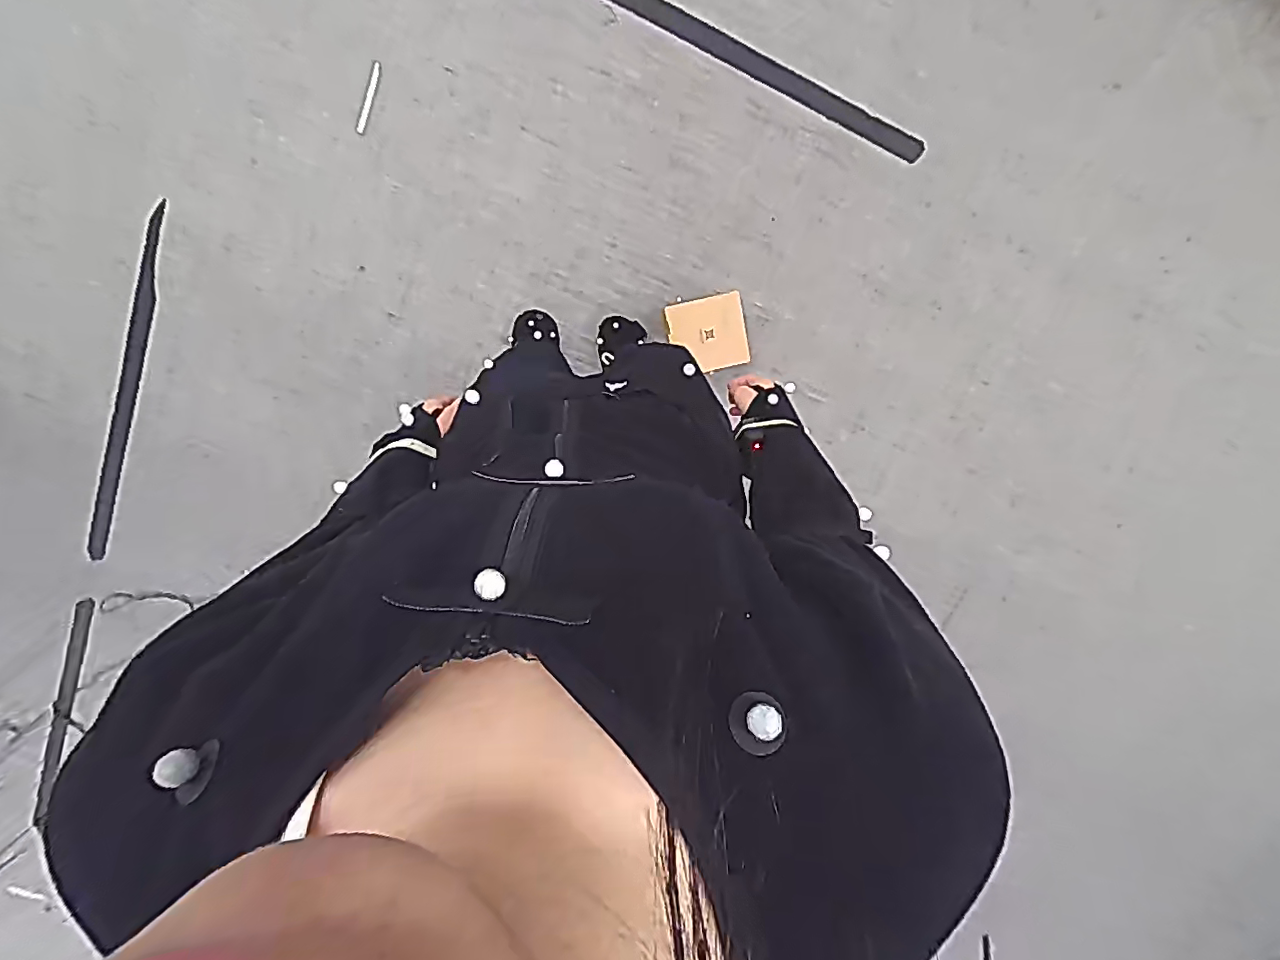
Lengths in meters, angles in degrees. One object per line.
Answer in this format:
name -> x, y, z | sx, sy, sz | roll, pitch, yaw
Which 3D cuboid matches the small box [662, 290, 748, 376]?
small box -> 0.152, -0.357, 1.320 | 0.179, 0.176, 0.168 | -13, 107, 2
